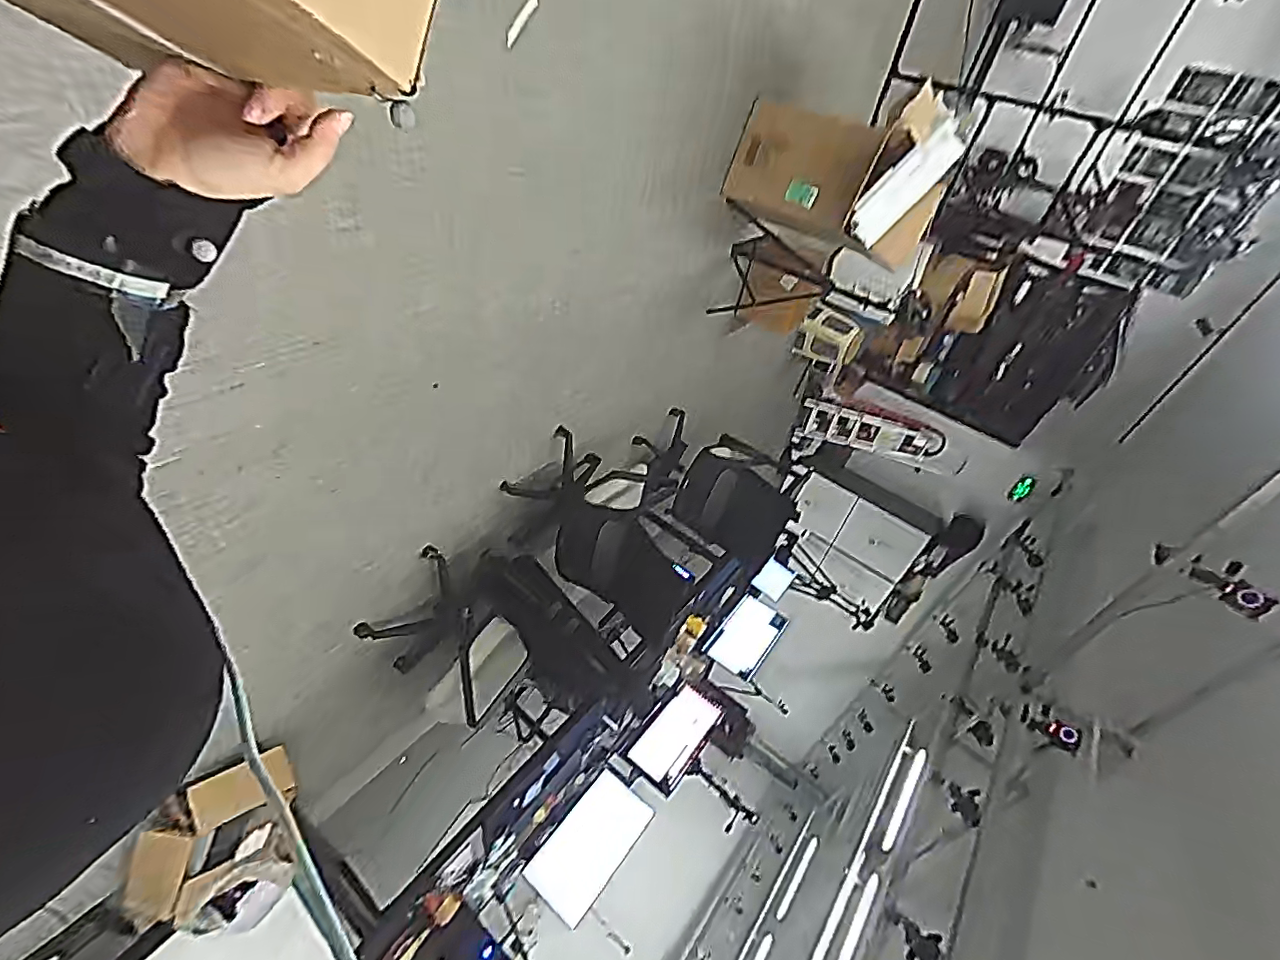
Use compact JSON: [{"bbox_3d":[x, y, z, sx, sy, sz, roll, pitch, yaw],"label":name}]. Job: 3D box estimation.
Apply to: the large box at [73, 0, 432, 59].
[{"bbox_3d":[-0.261,-0.380,0.097,0.408,0.320,0.320,-2,116,-63],"label":"large box"}]
